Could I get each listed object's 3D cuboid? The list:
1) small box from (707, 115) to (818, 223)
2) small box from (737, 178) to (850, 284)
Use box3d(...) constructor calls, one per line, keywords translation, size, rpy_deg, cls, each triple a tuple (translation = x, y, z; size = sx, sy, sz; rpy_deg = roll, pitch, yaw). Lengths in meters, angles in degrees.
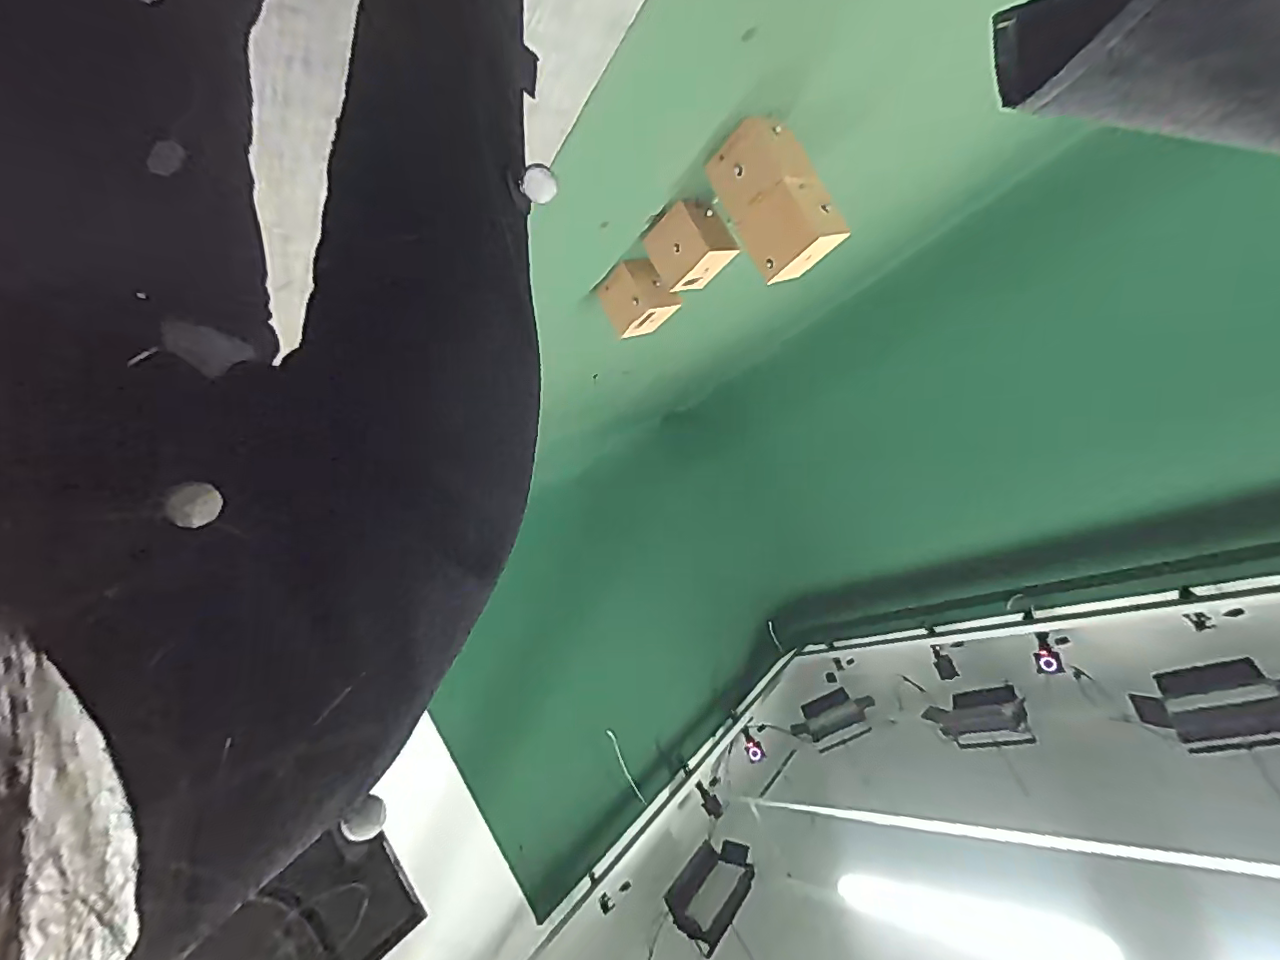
box3d(translation=(0.298, -0.763, 1.337), size=(0.179, 0.176, 0.168), rpy_deg=(-25, 177, -41), cls="small box")
box3d(translation=(0.373, -0.618, 1.334), size=(0.168, 0.176, 0.179), rpy_deg=(-27, 178, -39), cls="small box")
